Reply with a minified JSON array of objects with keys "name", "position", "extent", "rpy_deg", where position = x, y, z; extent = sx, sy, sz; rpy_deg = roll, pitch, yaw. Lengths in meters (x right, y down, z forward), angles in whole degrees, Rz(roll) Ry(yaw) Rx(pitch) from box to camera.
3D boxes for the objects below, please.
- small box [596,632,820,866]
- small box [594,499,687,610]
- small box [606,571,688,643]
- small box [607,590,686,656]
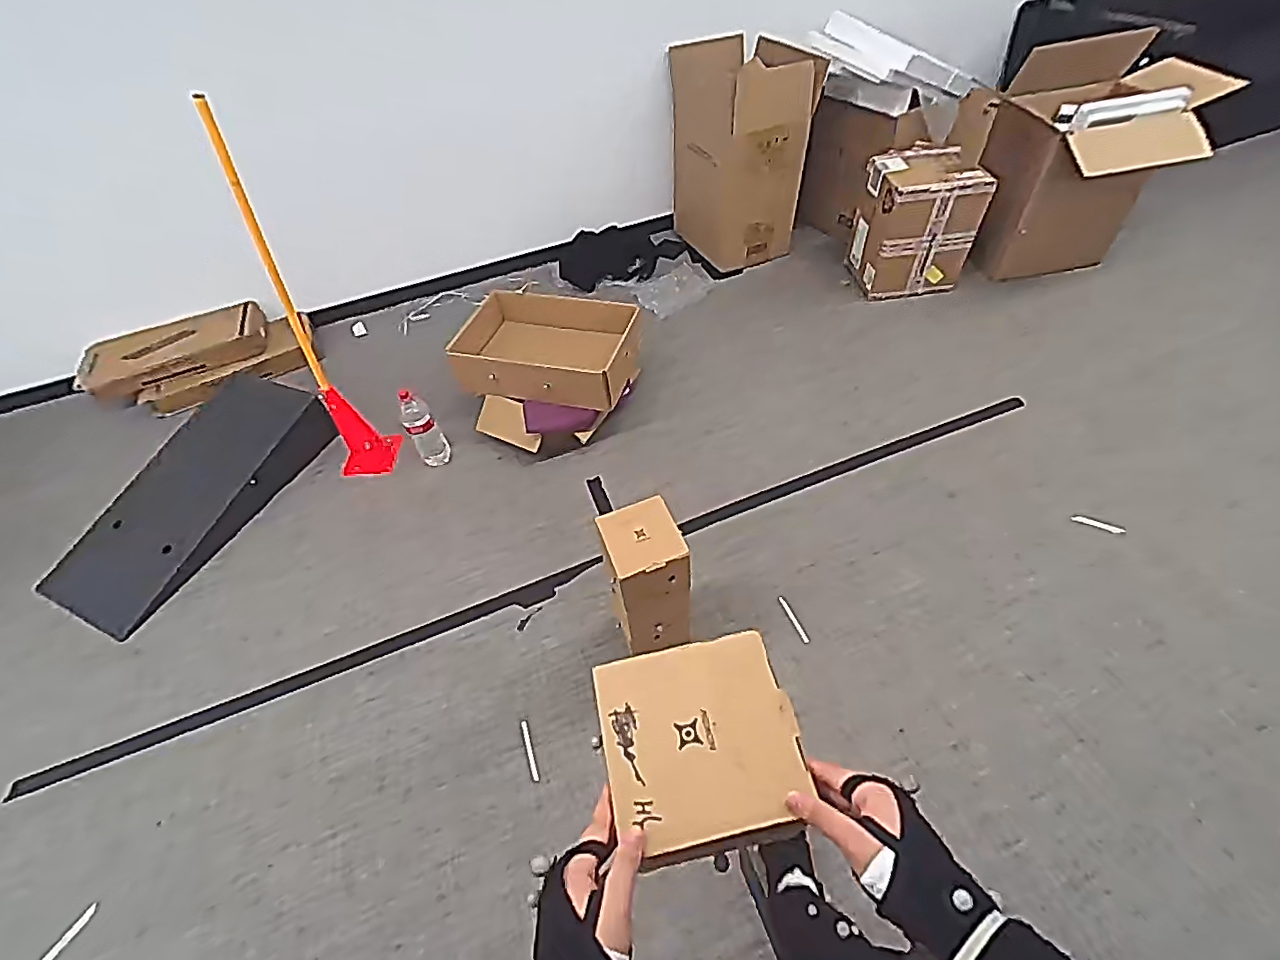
[{"name":"small box","position":[0.058,0.281,0.560],"extent":[0.179,0.176,0.168],"rpy_deg":[-11,51,-5]},{"name":"small box","position":[0.004,0.181,1.259],"extent":[0.168,0.176,0.179],"rpy_deg":[-19,51,-11]},{"name":"small box","position":[0.015,0.285,1.383],"extent":[0.168,0.176,0.179],"rpy_deg":[-19,52,-10]},{"name":"small box","position":[0.022,0.386,1.513],"extent":[0.179,0.176,0.168],"rpy_deg":[-18,52,-10]}]
